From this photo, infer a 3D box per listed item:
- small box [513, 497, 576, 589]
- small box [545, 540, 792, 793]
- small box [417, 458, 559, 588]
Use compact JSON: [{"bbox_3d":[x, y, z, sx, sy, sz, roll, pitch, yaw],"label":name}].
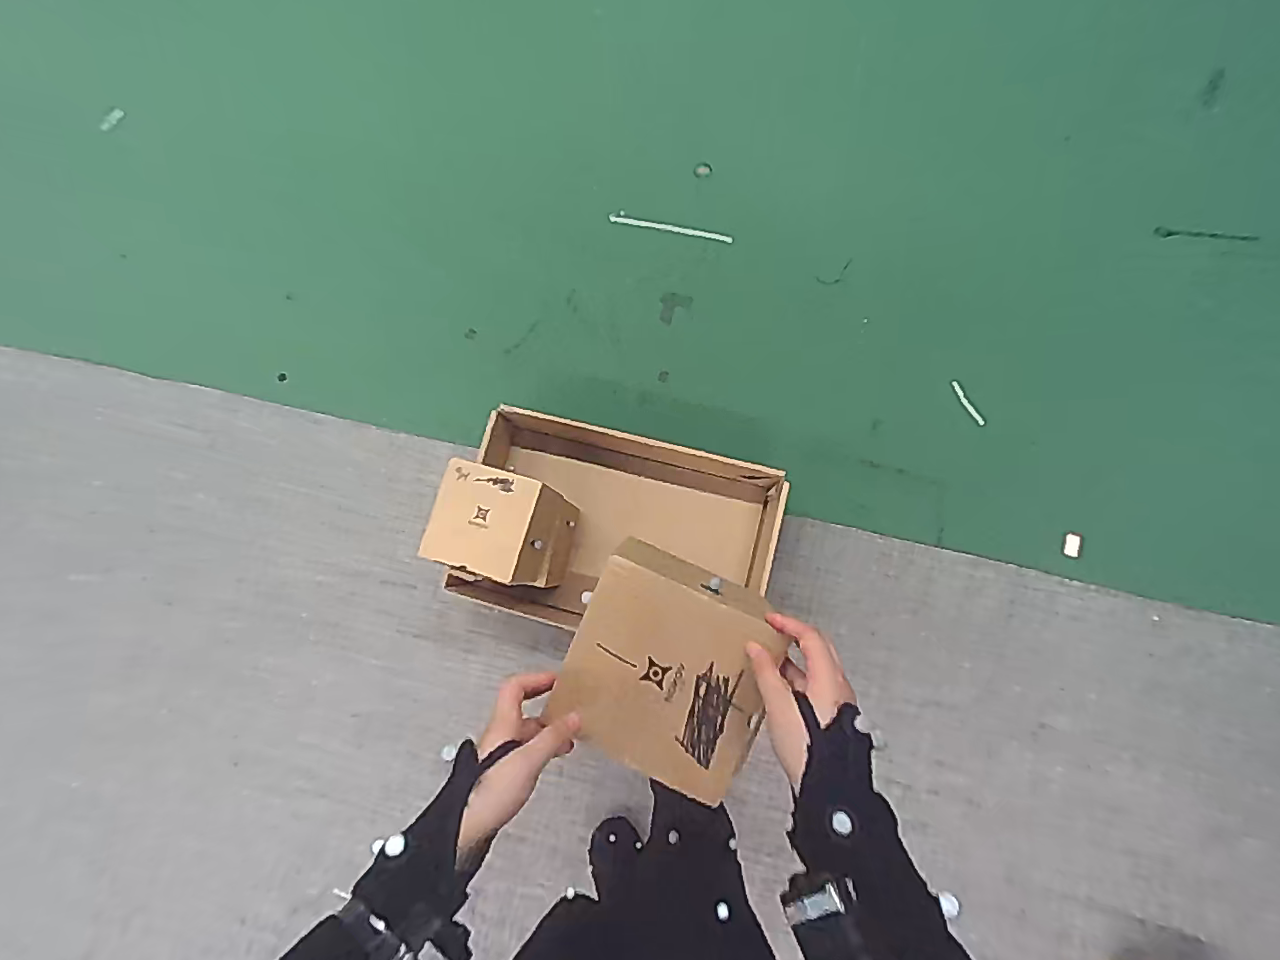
[{"bbox_3d":[-0.236,0.117,1.109,0.168,0.176,0.179,10,83,5],"label":"small box"},{"bbox_3d":[0.030,0.170,0.560,0.179,0.176,0.168,23,91,5],"label":"small box"},{"bbox_3d":[-0.253,0.078,0.950,0.168,0.176,0.179,15,83,6],"label":"small box"}]
